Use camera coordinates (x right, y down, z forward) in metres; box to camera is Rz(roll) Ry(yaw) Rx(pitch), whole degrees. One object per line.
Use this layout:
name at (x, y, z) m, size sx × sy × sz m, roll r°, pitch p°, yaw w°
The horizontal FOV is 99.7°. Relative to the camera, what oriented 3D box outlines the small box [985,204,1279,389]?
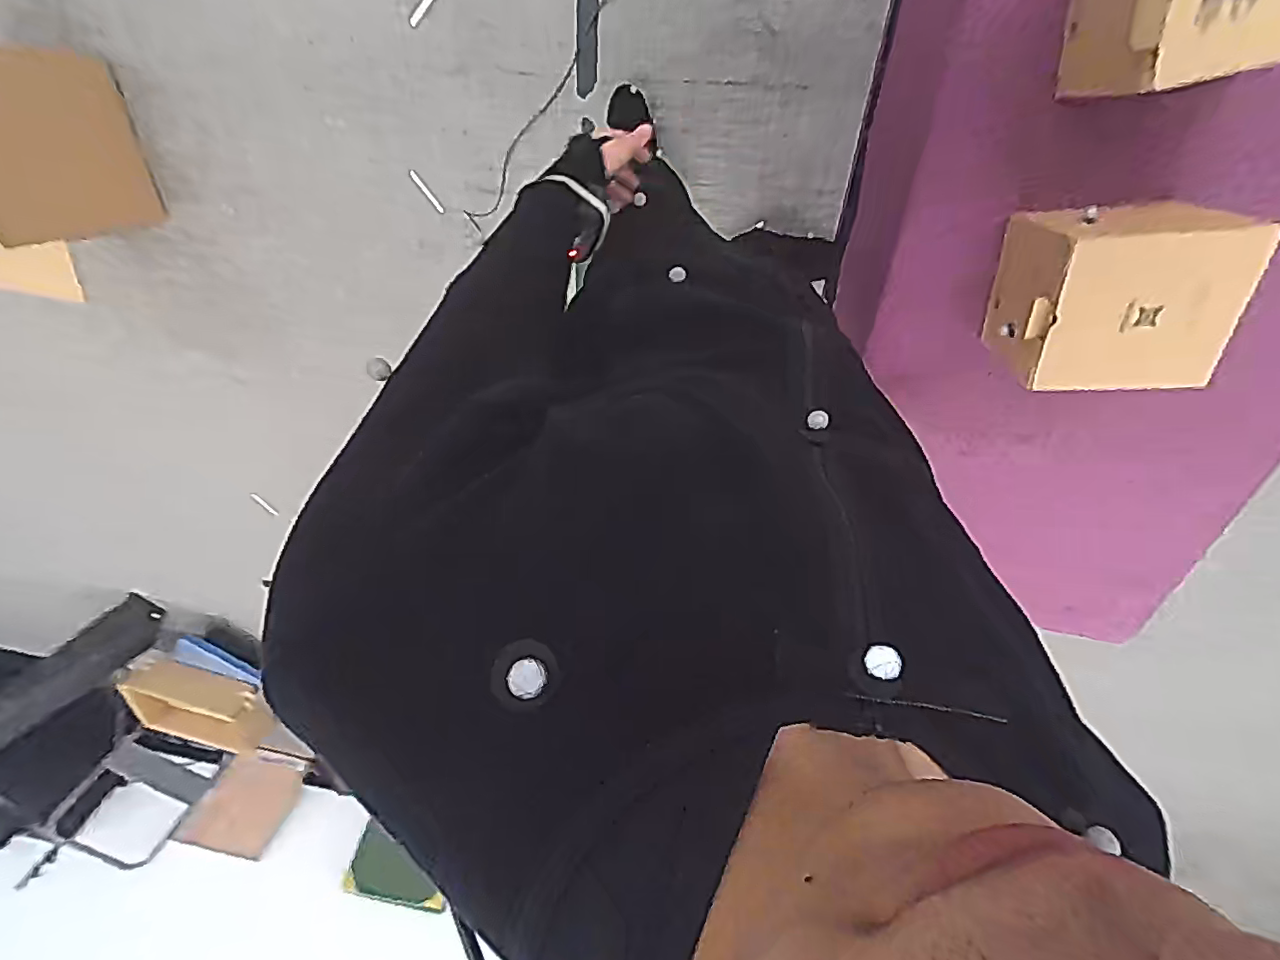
small box at (0.538, -0.215, 0.630) m, size 0.179 × 0.176 × 0.168 m, roll 0°, pitch 124°, yaw 11°
